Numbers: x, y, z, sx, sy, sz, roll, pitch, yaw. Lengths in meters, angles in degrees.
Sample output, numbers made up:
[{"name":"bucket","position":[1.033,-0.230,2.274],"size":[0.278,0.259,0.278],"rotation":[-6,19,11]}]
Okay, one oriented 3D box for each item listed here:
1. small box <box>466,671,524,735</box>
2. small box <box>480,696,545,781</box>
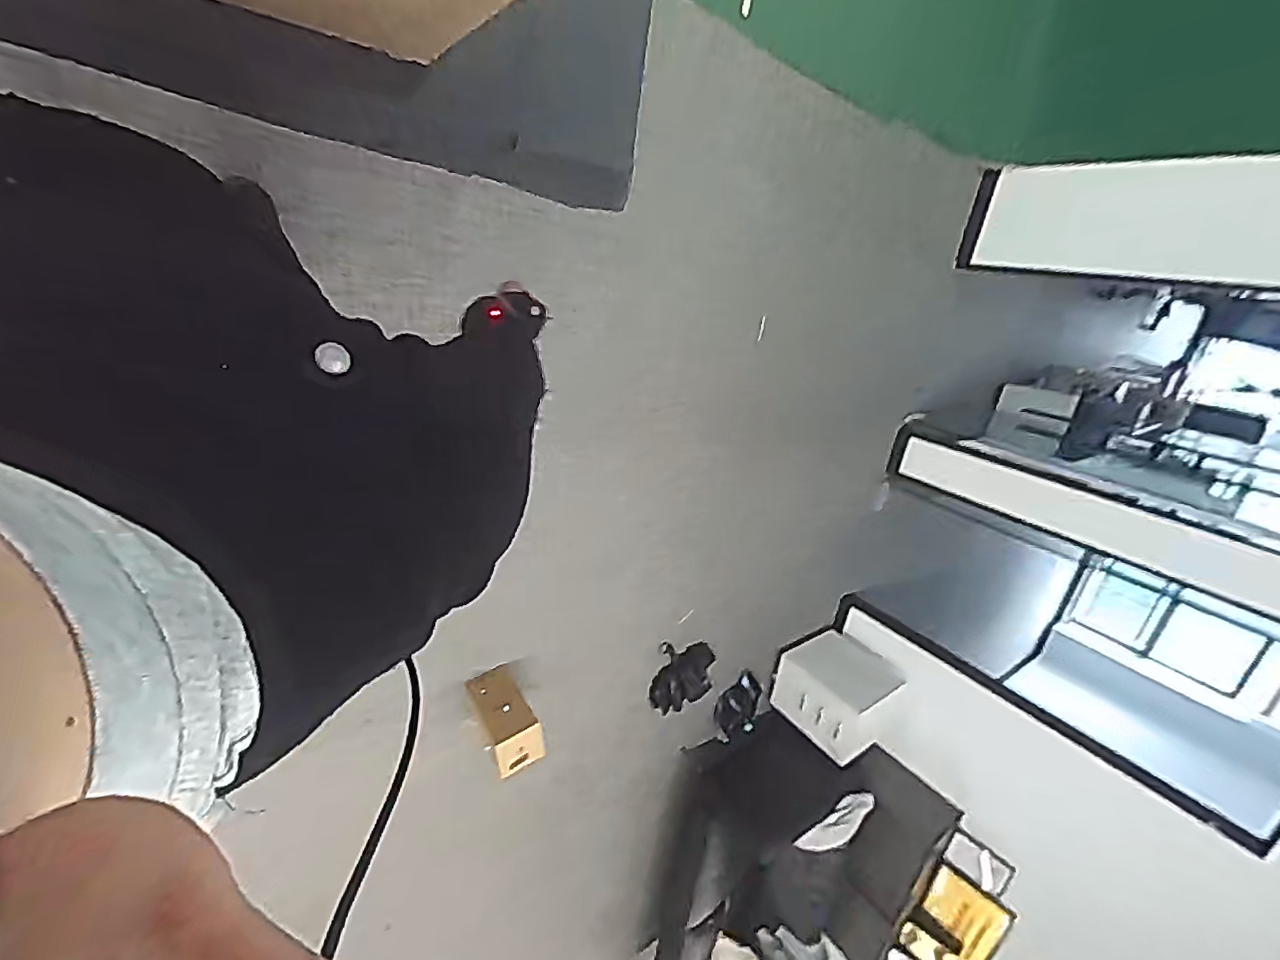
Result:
[{"name":"small box","position":[-0.543,0.853,2.043],"size":[0.168,0.176,0.179],"rotation":[-20,124,-30]},{"name":"small box","position":[-0.452,0.912,1.918],"size":[0.168,0.176,0.179],"rotation":[-19,121,-31]}]
